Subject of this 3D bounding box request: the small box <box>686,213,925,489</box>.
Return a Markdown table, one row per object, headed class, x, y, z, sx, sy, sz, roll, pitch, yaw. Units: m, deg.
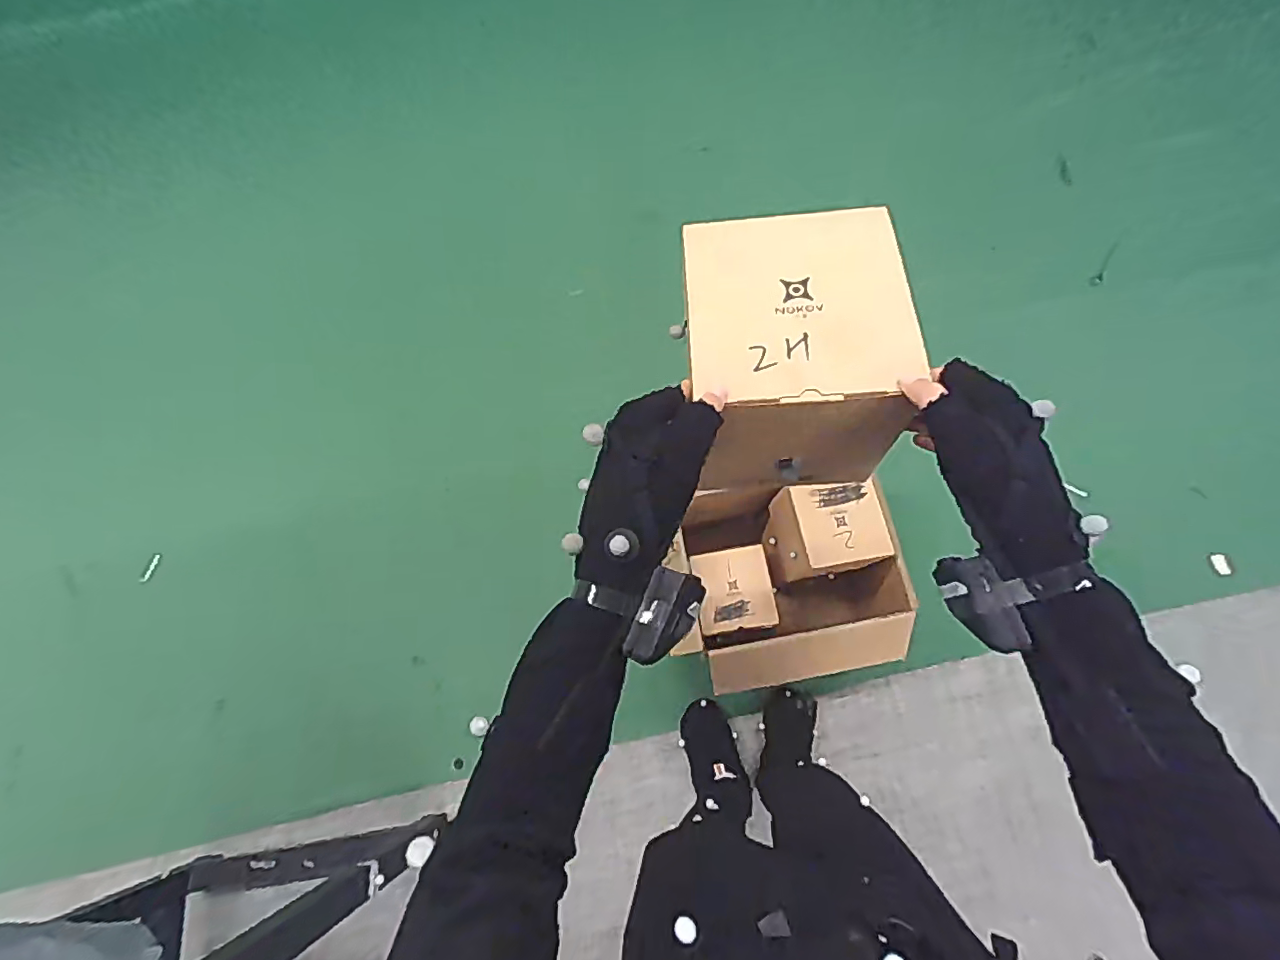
| class | x | y | z | sx | sy | sz | roll | pitch | yaw |
| --- | --- | --- | --- | --- | --- | --- | --- | --- | --- |
| small box | 0.125 | -0.105 | 0.489 | 0.168 | 0.176 | 0.179 | -3 | 67 | 5 |
